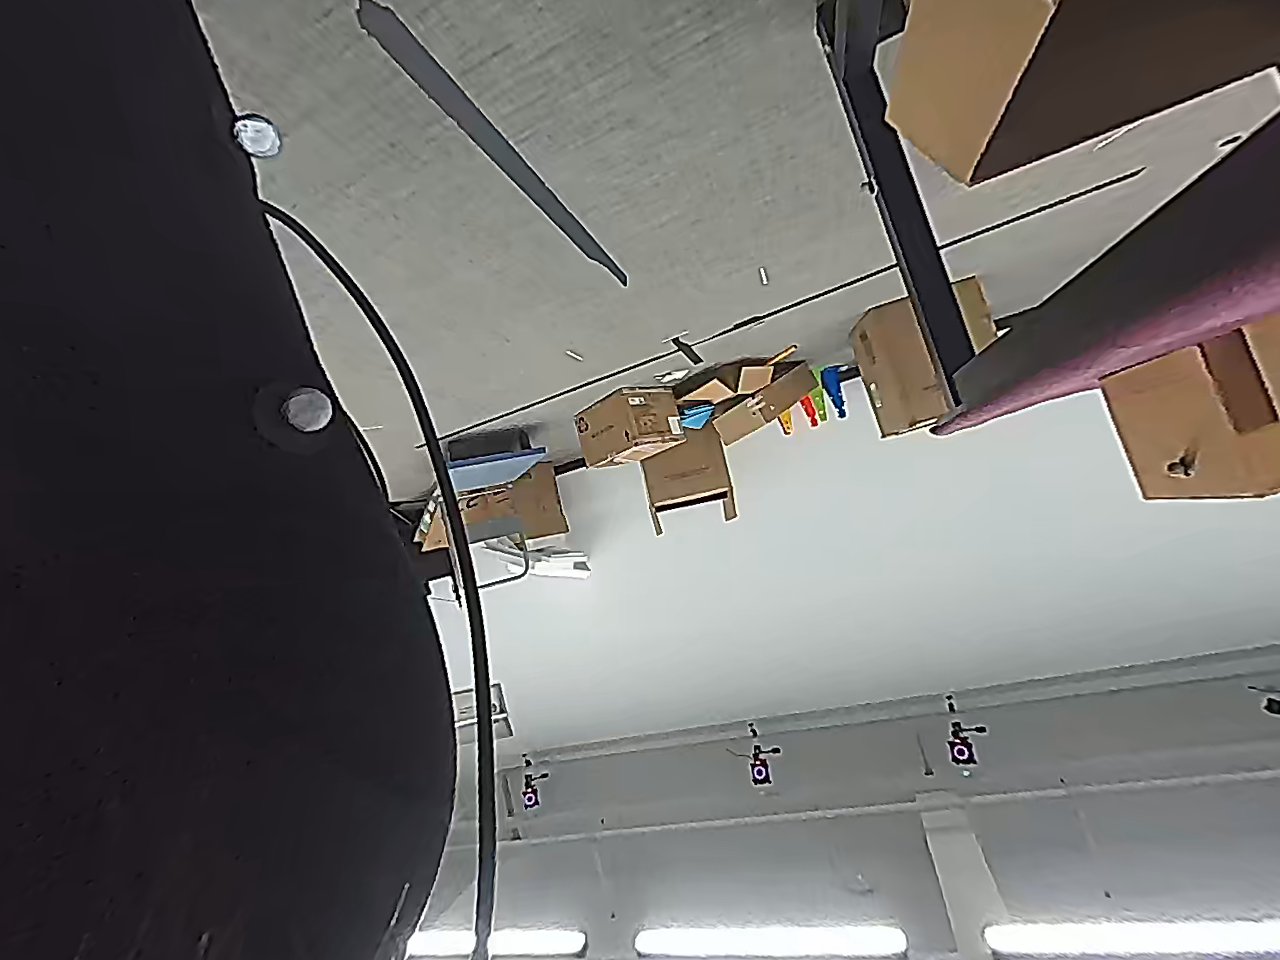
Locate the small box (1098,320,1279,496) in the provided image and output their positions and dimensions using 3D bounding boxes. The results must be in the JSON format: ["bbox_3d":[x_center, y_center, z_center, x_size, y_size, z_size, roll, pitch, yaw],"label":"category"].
[{"bbox_3d":[0.668,-0.086,0.608,0.168,0.176,0.179,-18,174,12],"label":"small box"}]

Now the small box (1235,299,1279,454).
[{"bbox_3d":[0.603,-0.089,0.376,0.179,0.176,0.168,-17,174,14],"label":"small box"}]
